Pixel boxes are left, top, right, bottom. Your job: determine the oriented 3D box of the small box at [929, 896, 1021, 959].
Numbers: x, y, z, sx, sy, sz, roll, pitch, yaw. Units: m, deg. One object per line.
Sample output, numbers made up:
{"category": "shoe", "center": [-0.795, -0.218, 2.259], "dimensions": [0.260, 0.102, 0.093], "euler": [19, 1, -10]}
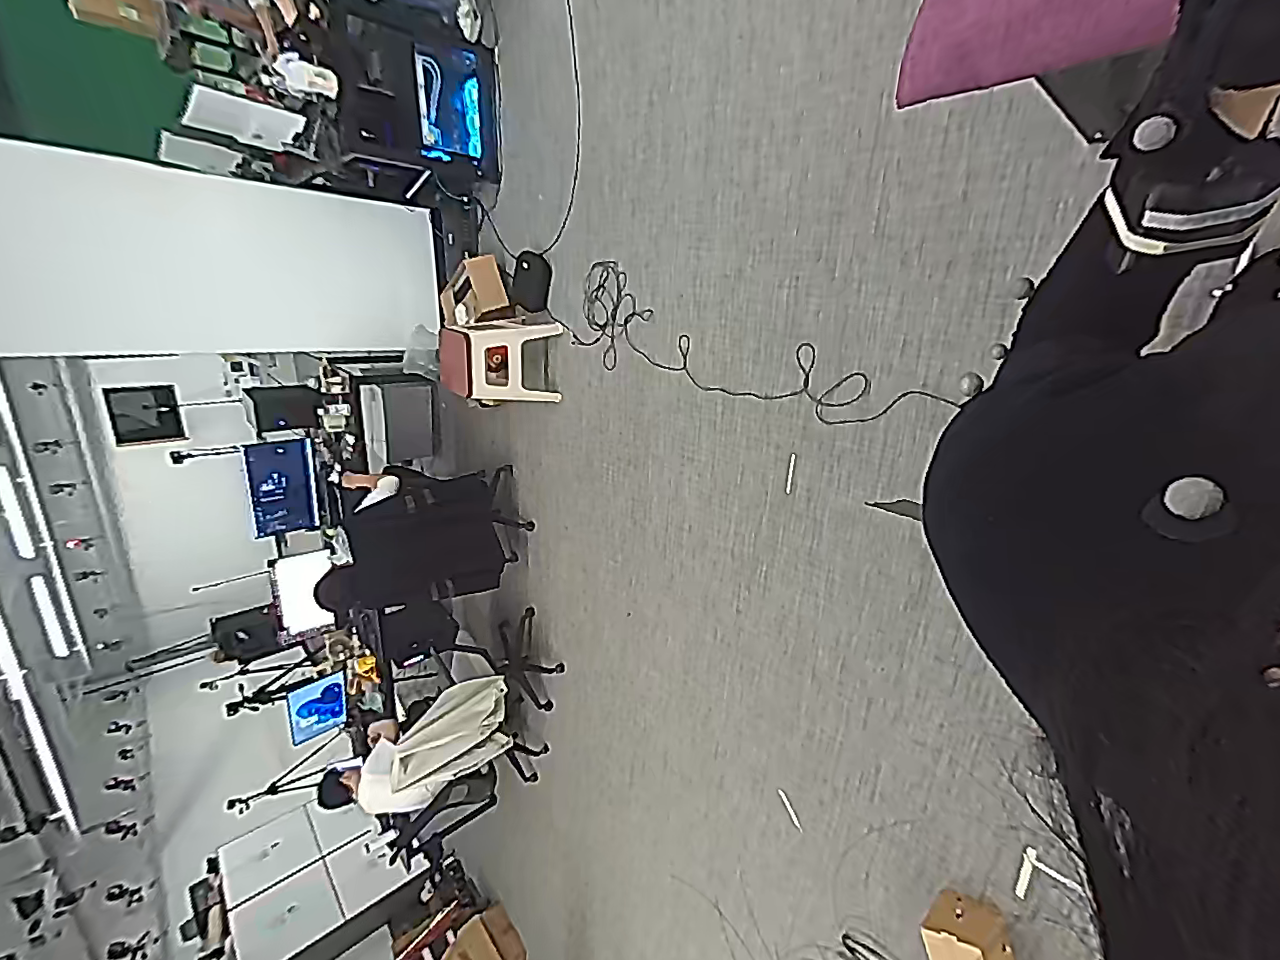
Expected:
{"category": "small box", "center": [0.961, 1.346, 1.541], "dimensions": [0.168, 0.176, 0.179], "euler": [-20, 85, 49]}
